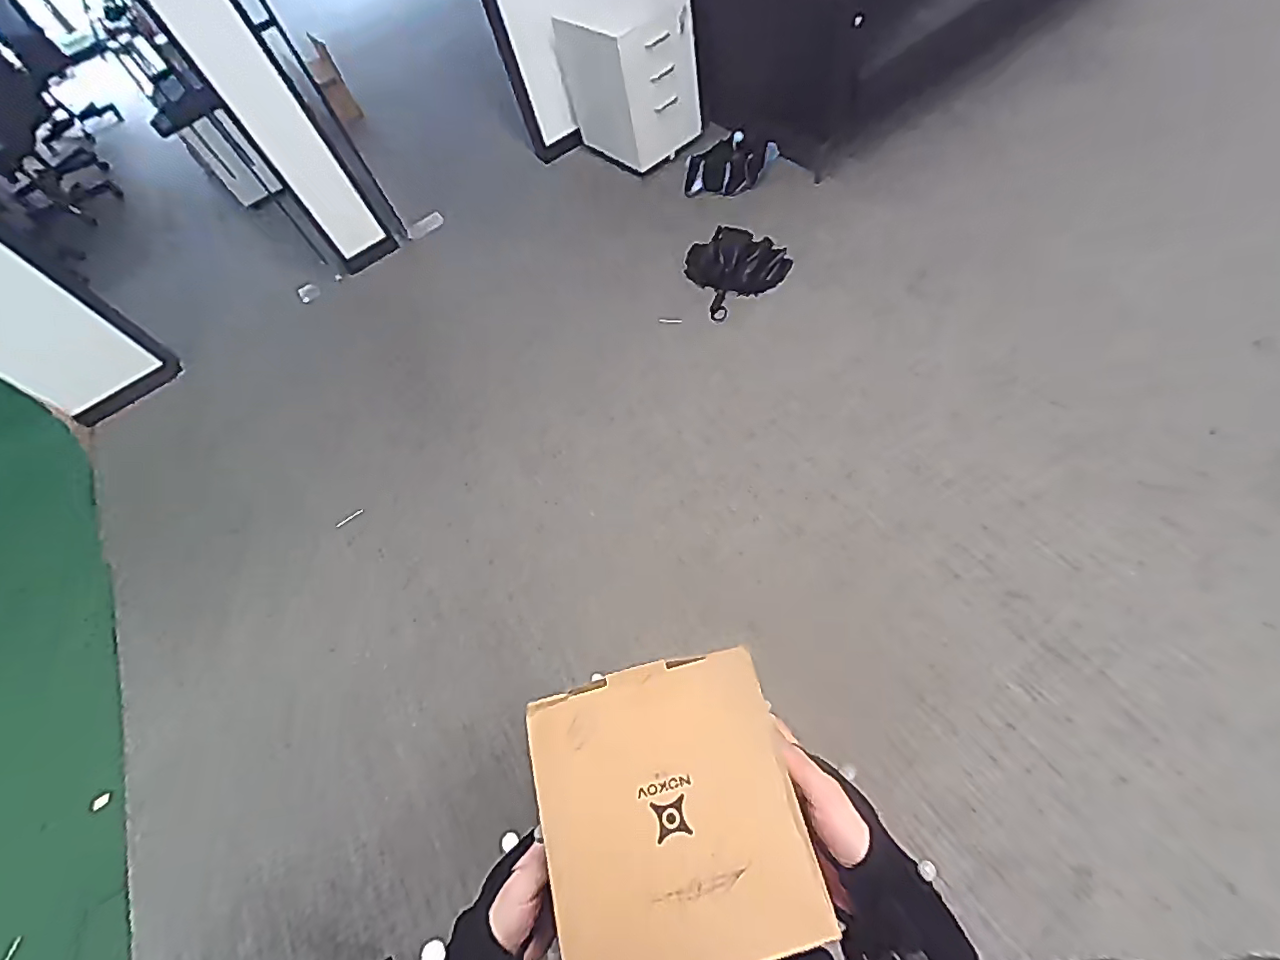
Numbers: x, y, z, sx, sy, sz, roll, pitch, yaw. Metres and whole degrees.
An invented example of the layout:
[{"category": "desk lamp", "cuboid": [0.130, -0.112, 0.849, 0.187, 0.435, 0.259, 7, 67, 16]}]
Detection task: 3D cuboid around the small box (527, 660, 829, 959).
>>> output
[{"category": "small box", "cuboid": [0.018, 0.256, 0.423, 0.168, 0.176, 0.179, -13, 66, -3]}]
